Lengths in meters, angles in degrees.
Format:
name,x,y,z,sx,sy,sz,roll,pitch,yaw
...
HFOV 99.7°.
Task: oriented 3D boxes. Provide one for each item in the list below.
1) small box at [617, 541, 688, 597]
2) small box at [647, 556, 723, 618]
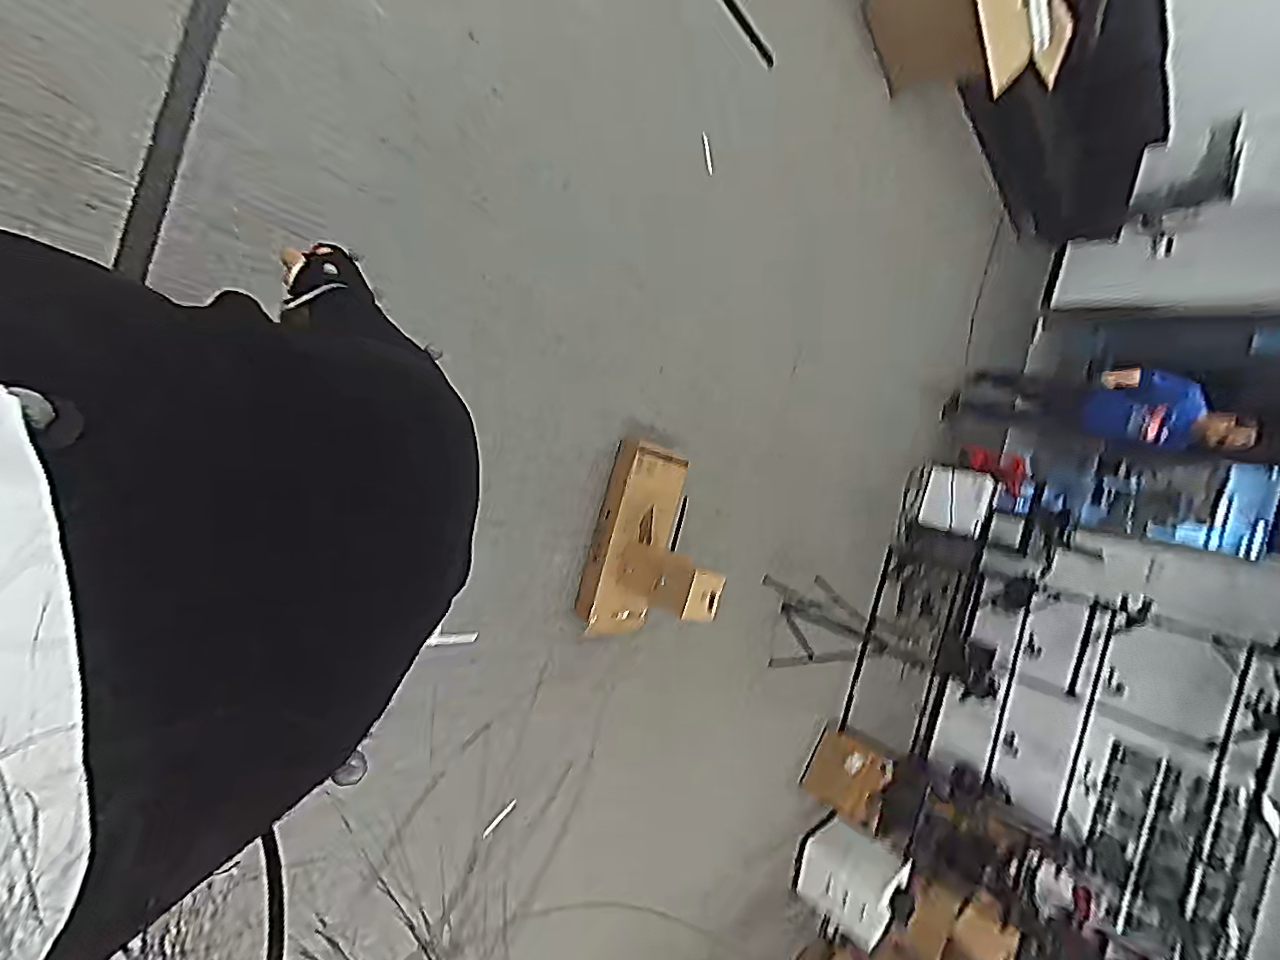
name,x,y,z,sx,sy,sz,roll,pitch,yaw
small box,0.046,0.333,2.017,0.179,0.176,0.168,14,91,-46
small box,0.157,0.374,1.904,0.179,0.176,0.168,19,87,-45
